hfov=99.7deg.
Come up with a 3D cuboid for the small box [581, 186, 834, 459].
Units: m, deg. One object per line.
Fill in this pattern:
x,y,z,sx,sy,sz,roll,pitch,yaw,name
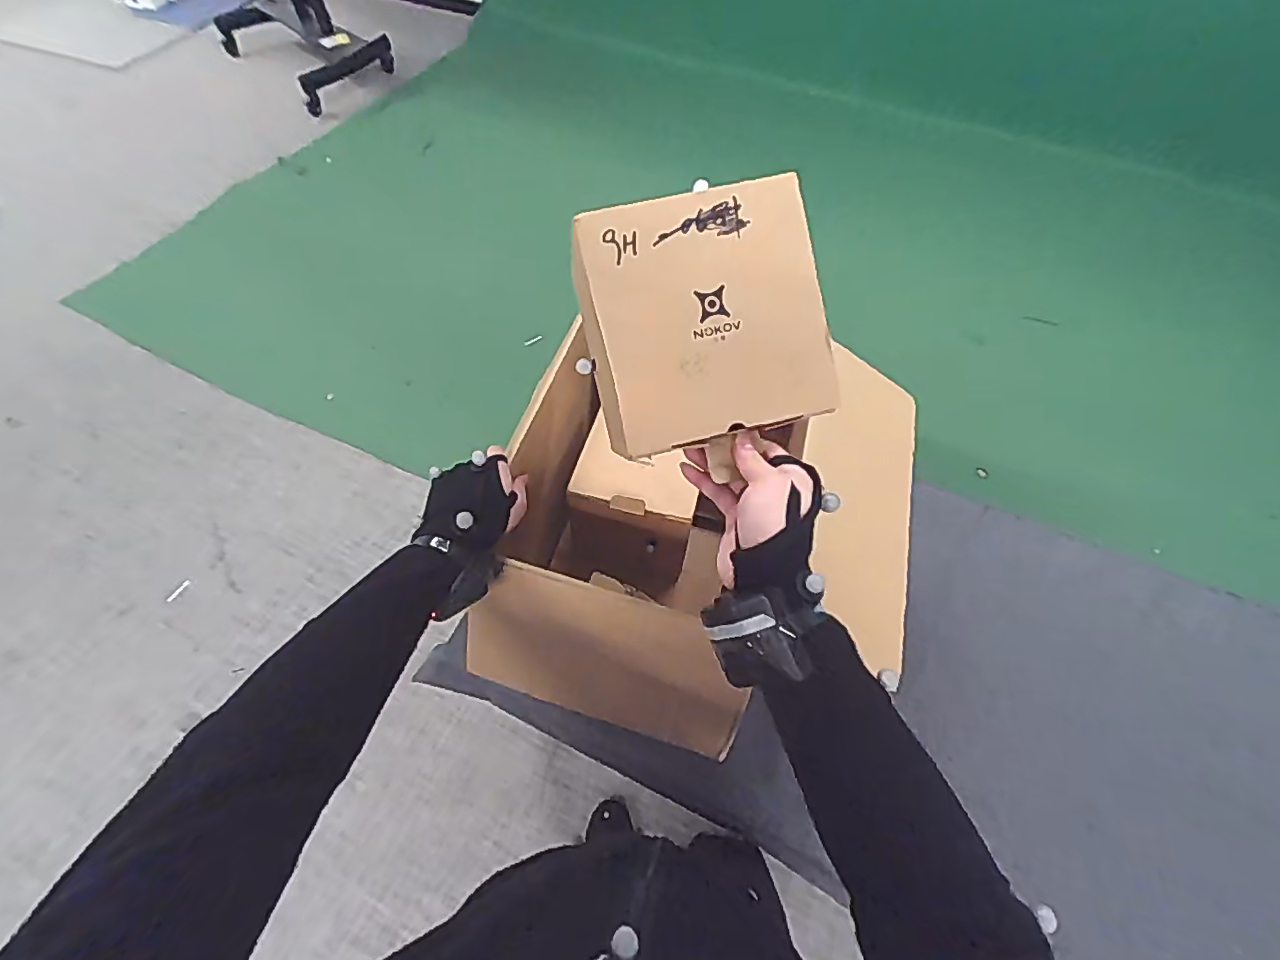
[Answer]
0.046,-0.124,0.480,0.168,0.176,0.179,-13,96,-5,small box
